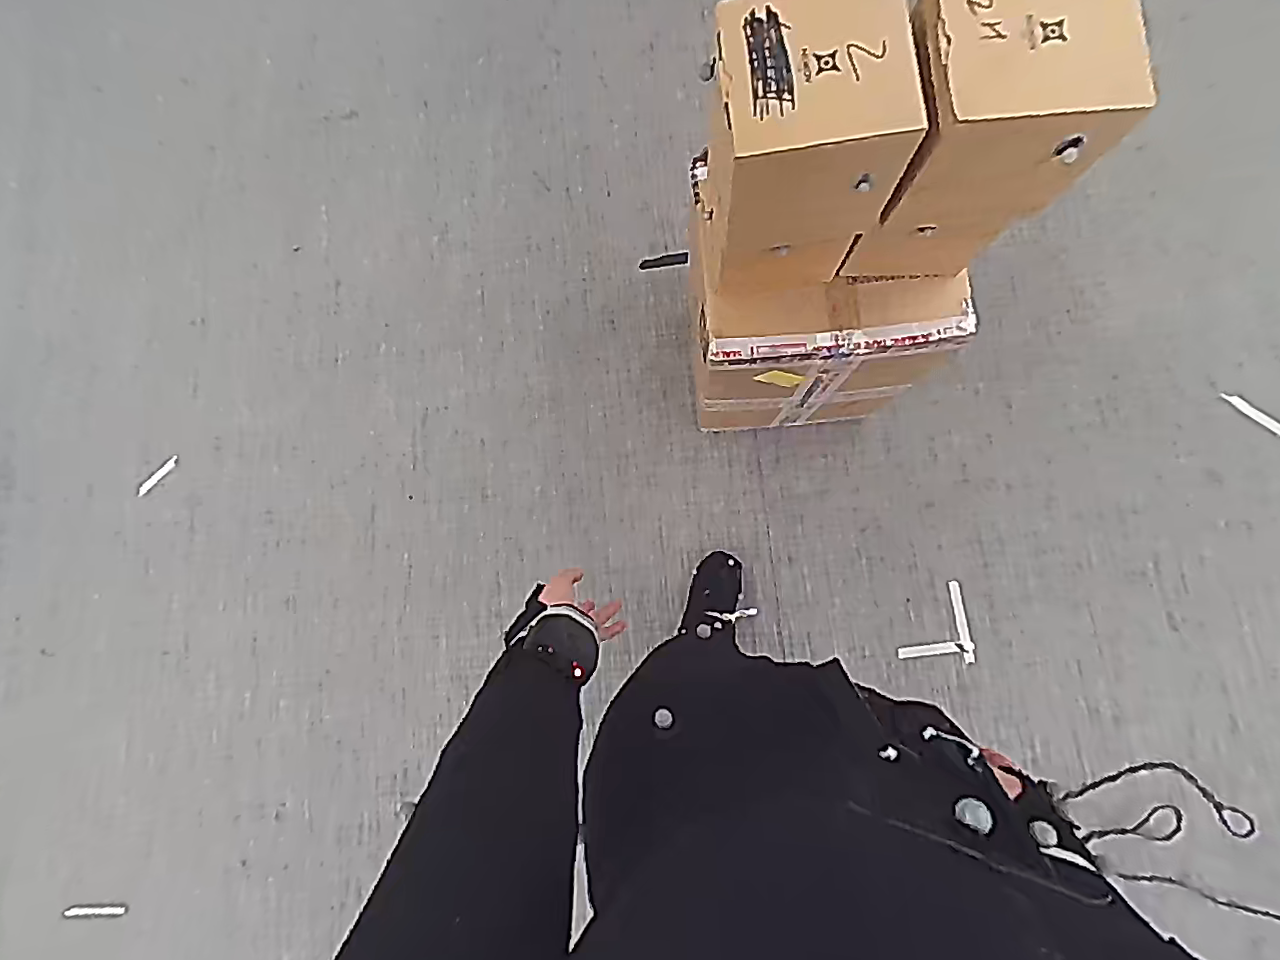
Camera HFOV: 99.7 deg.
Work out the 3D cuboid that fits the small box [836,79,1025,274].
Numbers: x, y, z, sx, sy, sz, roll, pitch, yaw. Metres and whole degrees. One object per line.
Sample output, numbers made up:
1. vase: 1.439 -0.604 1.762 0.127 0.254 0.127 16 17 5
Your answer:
1. small box: 0.371 -0.393 0.726 0.179 0.176 0.168 1 83 3
